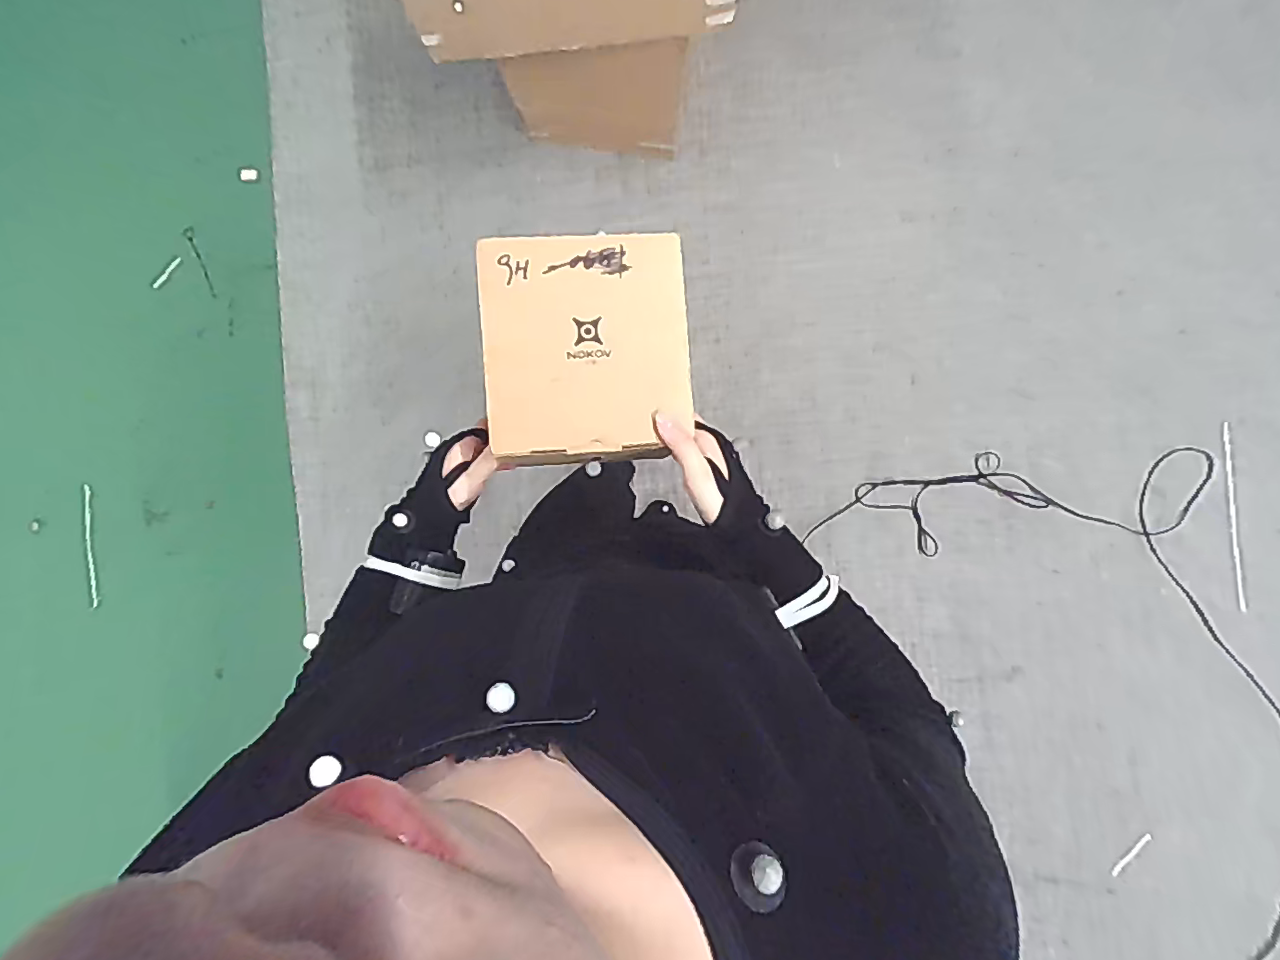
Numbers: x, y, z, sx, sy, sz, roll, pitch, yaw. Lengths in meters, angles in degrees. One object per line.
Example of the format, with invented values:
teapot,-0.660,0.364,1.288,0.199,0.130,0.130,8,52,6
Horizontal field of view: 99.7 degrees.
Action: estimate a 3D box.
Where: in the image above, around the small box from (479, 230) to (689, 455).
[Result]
small box,-0.050,-0.114,0.516,0.168,0.176,0.179,-3,90,-5
